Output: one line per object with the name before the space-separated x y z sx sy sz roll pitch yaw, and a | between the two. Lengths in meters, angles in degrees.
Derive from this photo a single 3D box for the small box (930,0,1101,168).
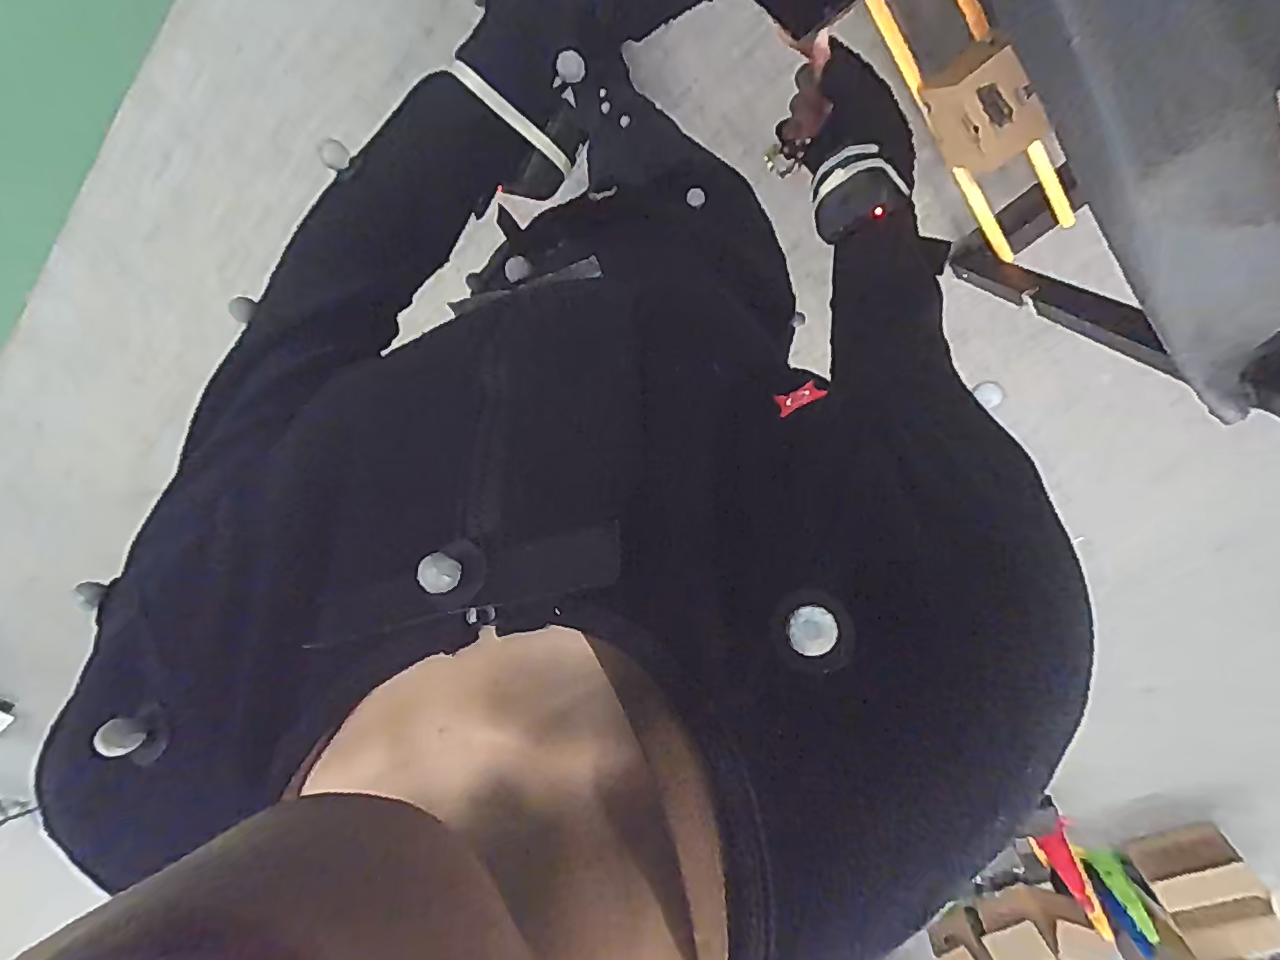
small box | 0.644 -0.685 0.953 0.179 0.176 0.168 -34 116 21
